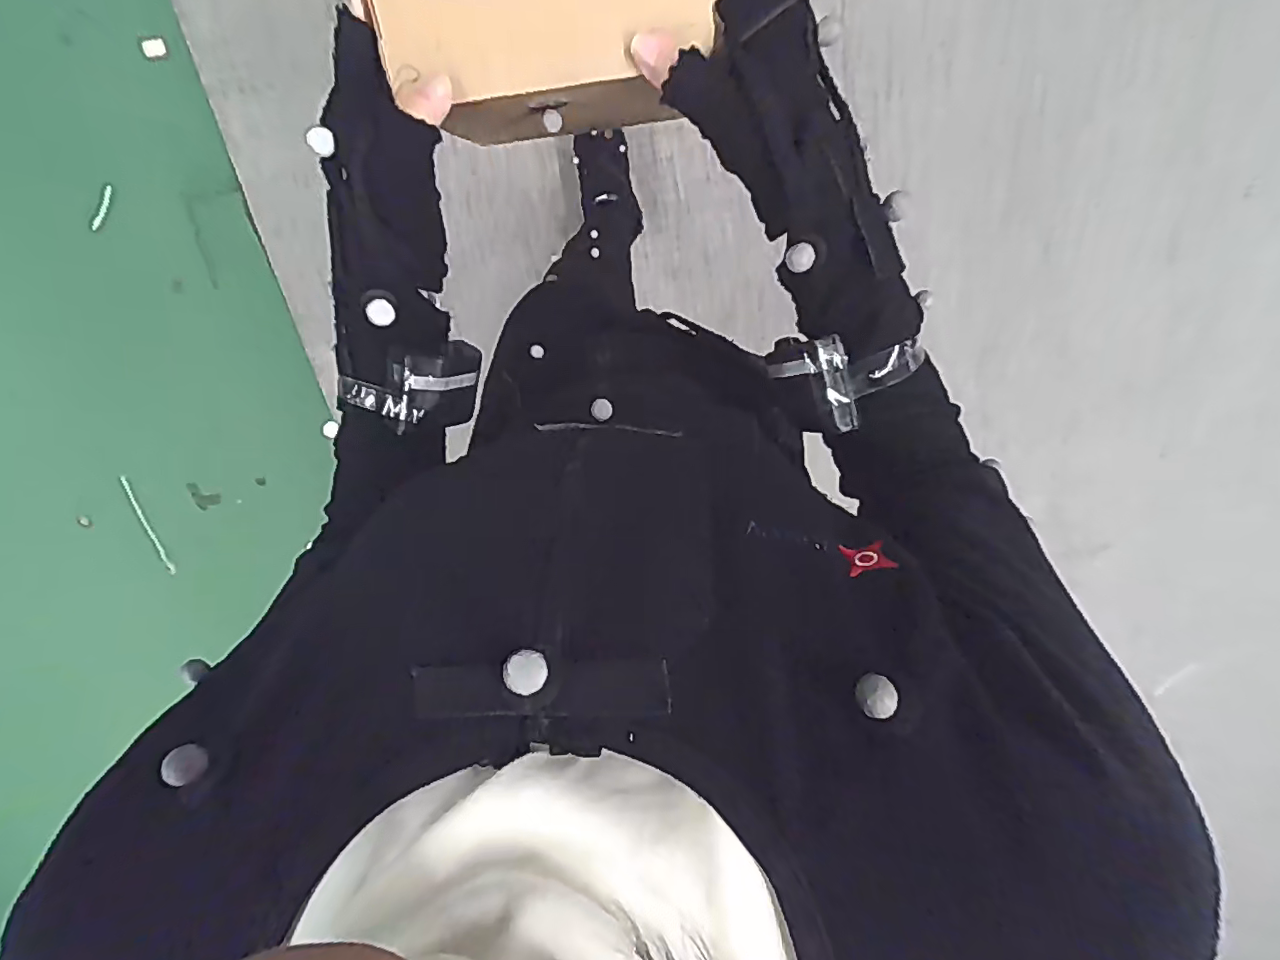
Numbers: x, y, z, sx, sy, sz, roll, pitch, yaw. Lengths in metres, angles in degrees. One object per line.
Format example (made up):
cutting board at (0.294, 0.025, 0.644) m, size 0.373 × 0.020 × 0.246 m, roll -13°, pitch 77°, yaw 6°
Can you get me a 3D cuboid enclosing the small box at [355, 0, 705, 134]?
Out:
small box at (-0.057, -0.315, 0.315) m, size 0.179 × 0.176 × 0.168 m, roll -5°, pitch 117°, yaw 4°
